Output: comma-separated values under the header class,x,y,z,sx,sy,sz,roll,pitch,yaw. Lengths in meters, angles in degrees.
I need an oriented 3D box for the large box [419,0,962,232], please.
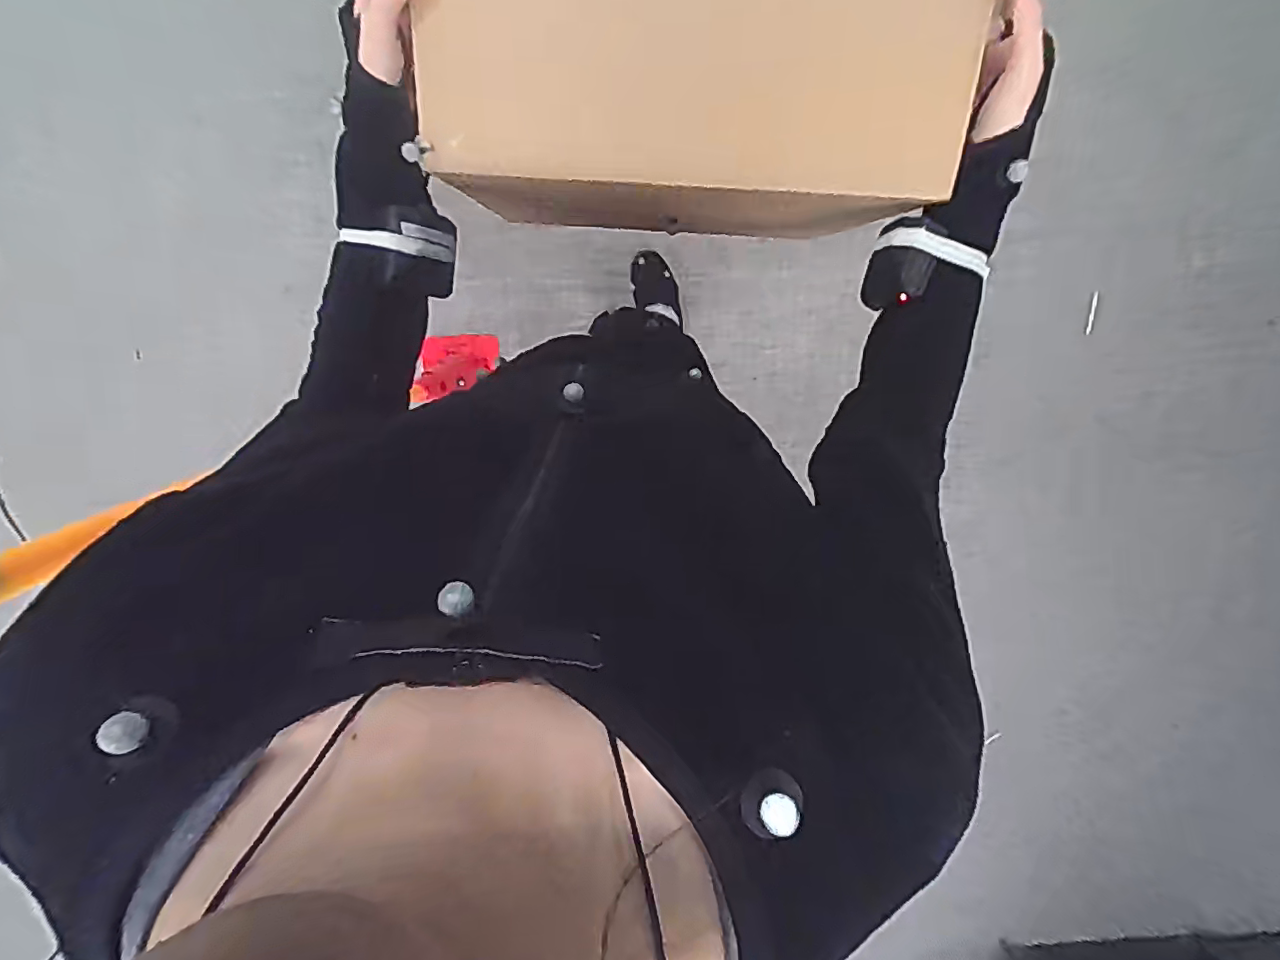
class,x,y,z,sx,sy,sz,roll,pitch,yaw
large box,0.038,-0.424,0.523,0.408,0.320,0.320,2,108,-2
